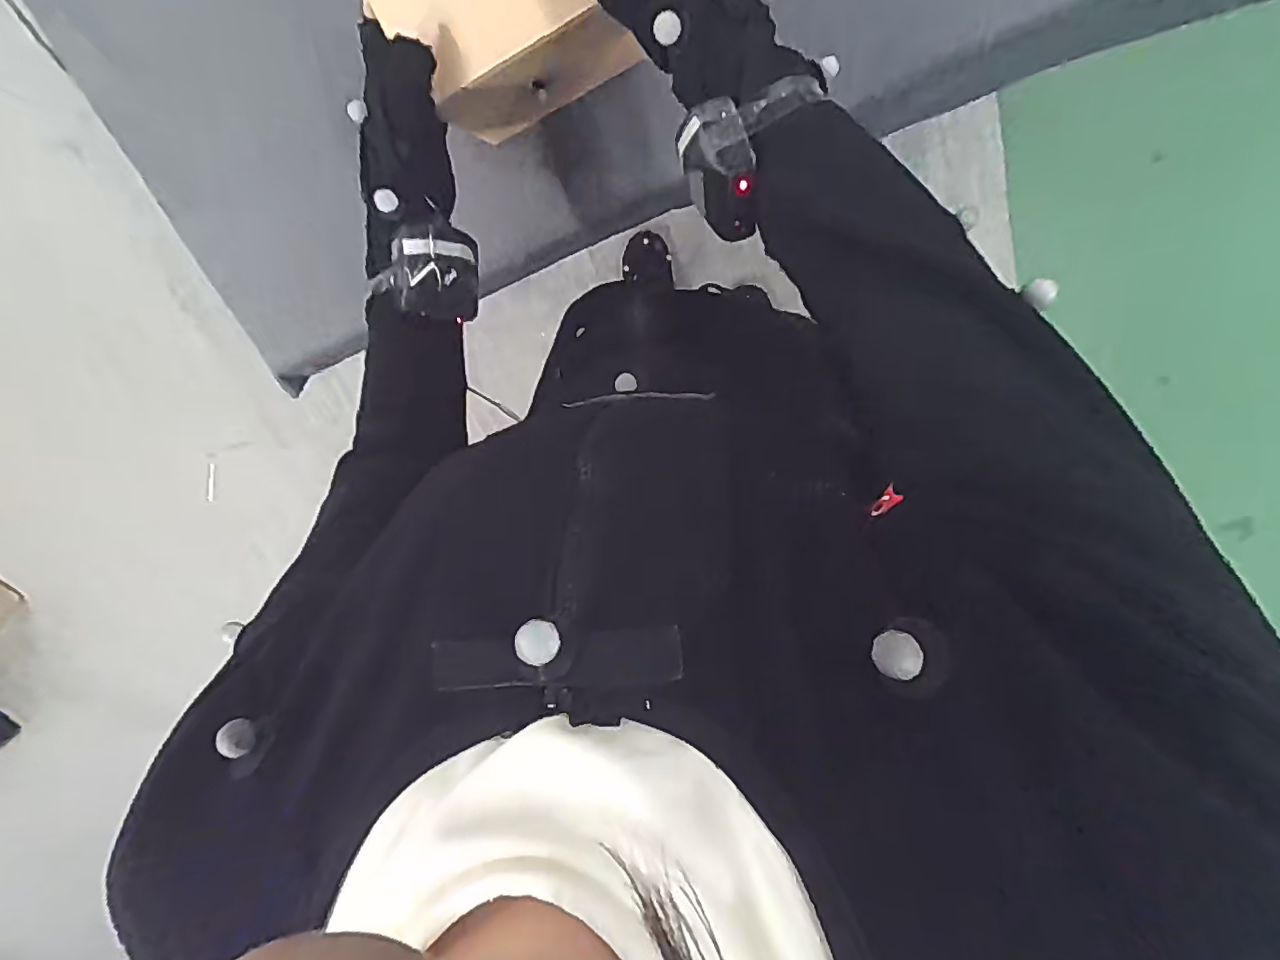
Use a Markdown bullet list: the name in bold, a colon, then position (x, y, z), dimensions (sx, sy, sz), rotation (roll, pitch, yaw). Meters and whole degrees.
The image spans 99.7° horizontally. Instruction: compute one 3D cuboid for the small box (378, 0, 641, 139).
- **small box**: position (-0.108, -0.412, 0.437), dimensions (0.179, 0.176, 0.168), rotation (-24, 111, 14)
